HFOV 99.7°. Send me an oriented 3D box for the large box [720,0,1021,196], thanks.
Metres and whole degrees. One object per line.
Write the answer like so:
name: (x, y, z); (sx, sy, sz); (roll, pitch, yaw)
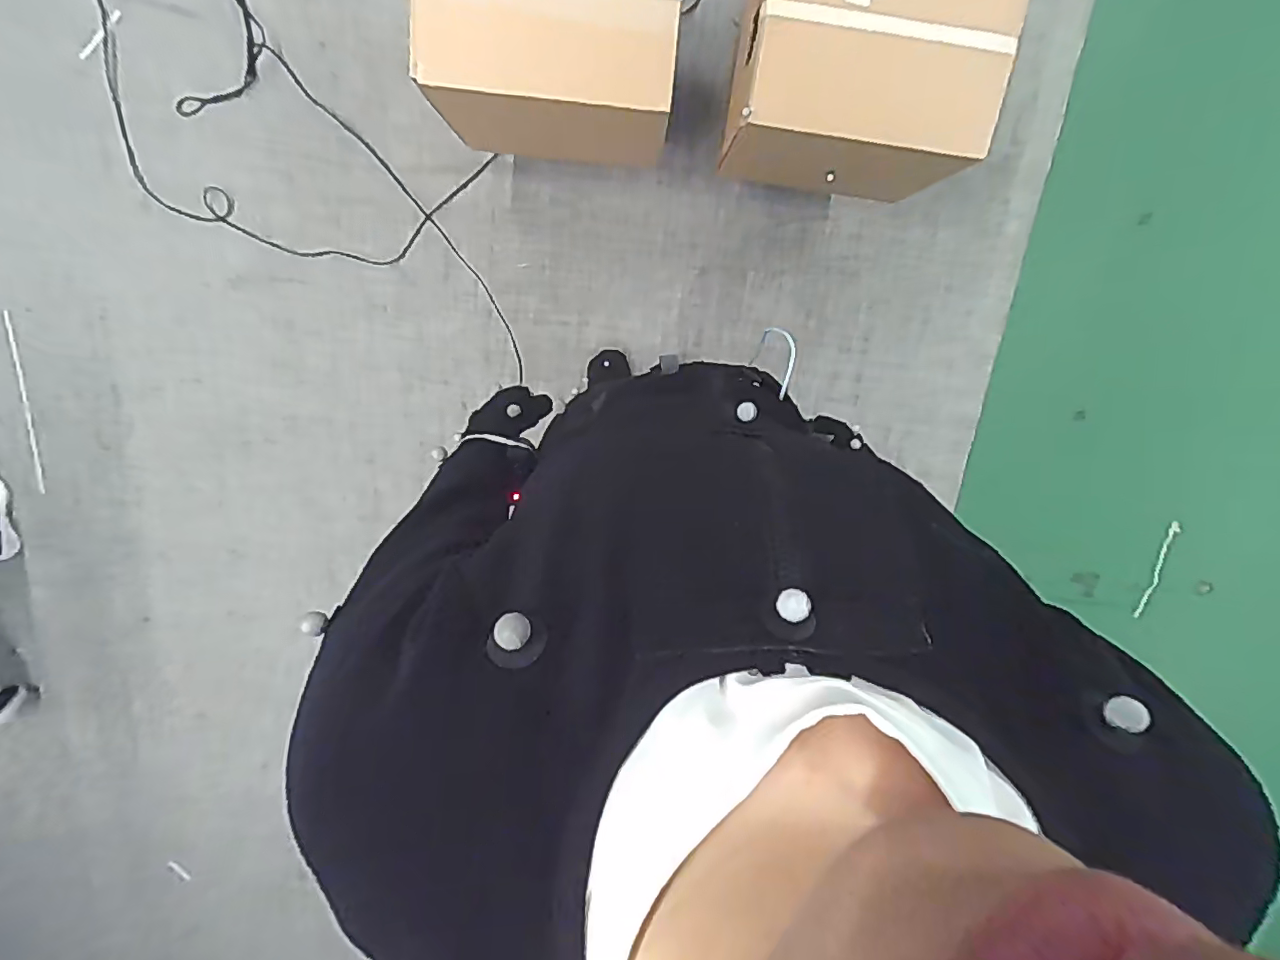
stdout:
large box: (0.390, -0.746, 0.999); (0.408, 0.320, 0.320); (7, 105, -3)
